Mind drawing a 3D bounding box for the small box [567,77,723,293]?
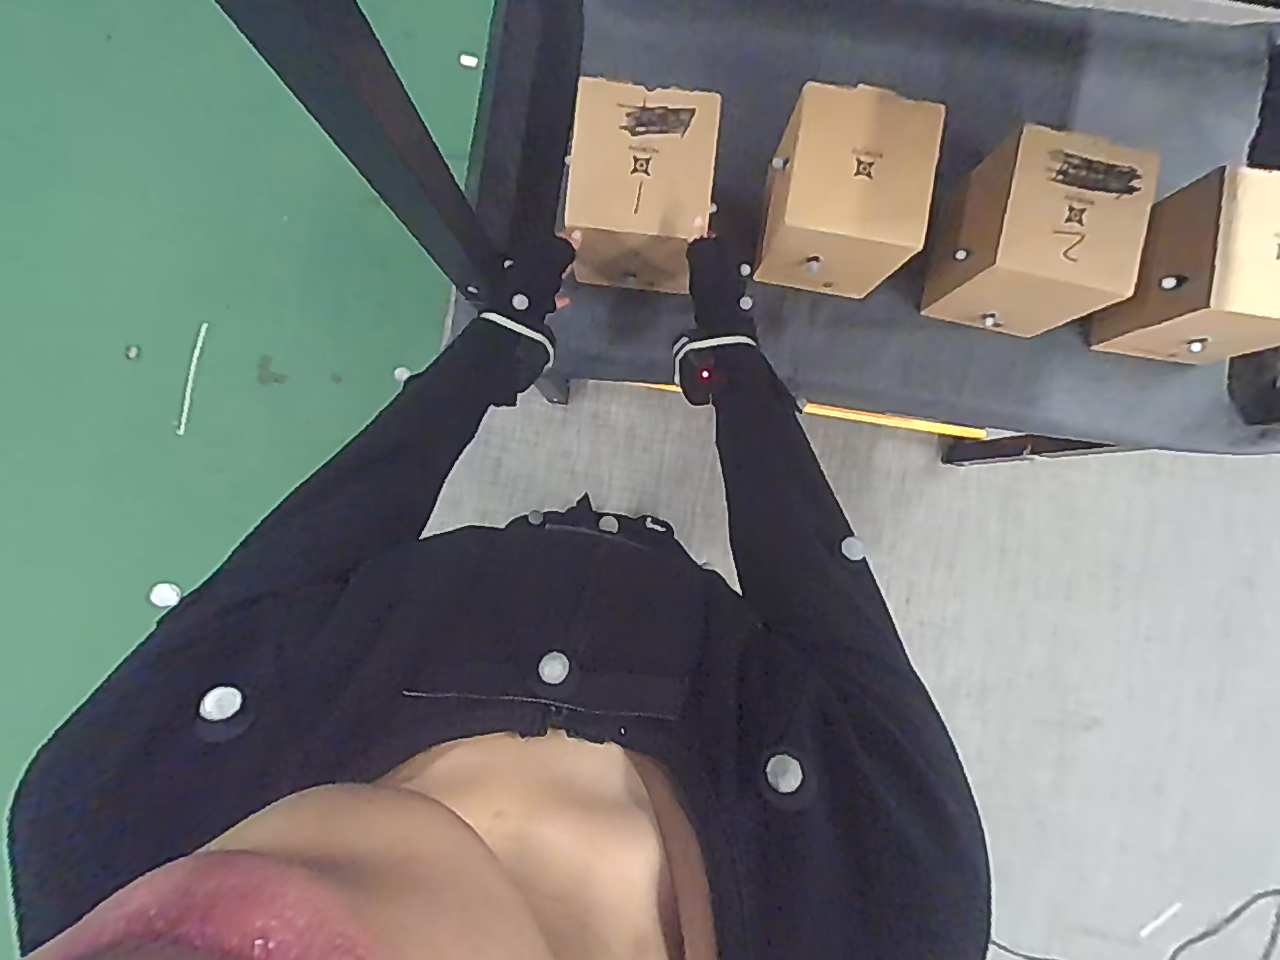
[{"bbox_3d":[0.003,-0.366,0.699,0.168,0.176,0.179,6,89,-1],"label":"small box"}]

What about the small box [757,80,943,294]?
[{"bbox_3d":[0.258,-0.364,0.706,0.168,0.176,0.179,9,88,-1],"label":"small box"}]

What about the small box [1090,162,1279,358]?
[{"bbox_3d":[0.742,-0.272,0.708,0.168,0.176,0.179,8,87,-1],"label":"small box"}]
